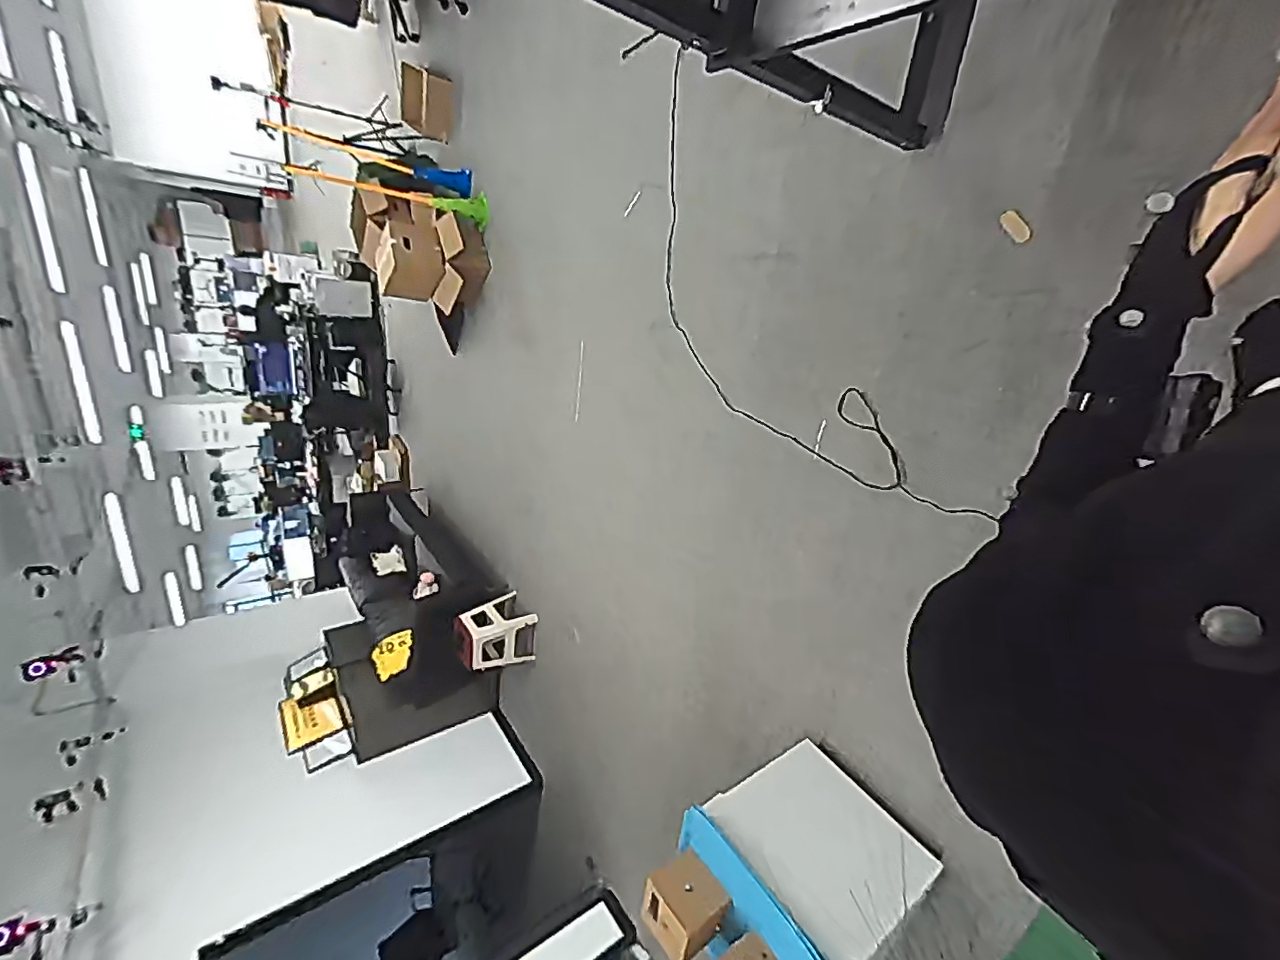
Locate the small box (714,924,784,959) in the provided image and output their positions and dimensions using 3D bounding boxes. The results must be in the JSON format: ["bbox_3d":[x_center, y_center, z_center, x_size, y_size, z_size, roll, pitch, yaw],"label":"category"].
[{"bbox_3d":[0.285,1.300,1.382,0.168,0.176,0.179,36,126,46],"label":"small box"}]
